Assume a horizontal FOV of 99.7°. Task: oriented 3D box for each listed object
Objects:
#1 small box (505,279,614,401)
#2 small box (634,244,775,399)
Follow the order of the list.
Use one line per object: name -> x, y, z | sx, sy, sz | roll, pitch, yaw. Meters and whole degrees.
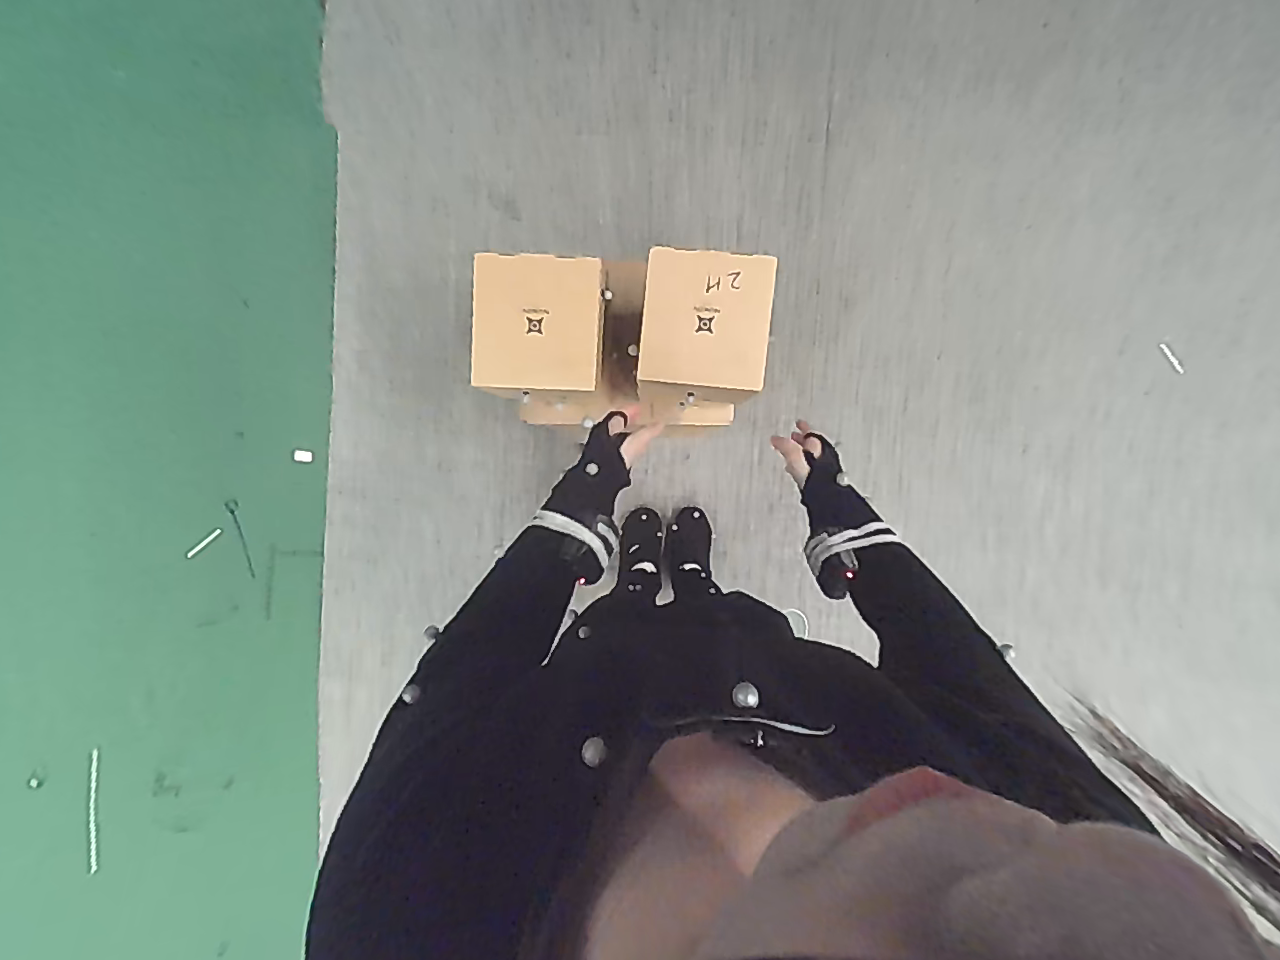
small box -> -0.135, -0.238, 0.957 | 0.168, 0.176, 0.179 | 3, 94, 0
small box -> 0.087, -0.217, 0.785 | 0.168, 0.176, 0.179 | 7, 93, 2
